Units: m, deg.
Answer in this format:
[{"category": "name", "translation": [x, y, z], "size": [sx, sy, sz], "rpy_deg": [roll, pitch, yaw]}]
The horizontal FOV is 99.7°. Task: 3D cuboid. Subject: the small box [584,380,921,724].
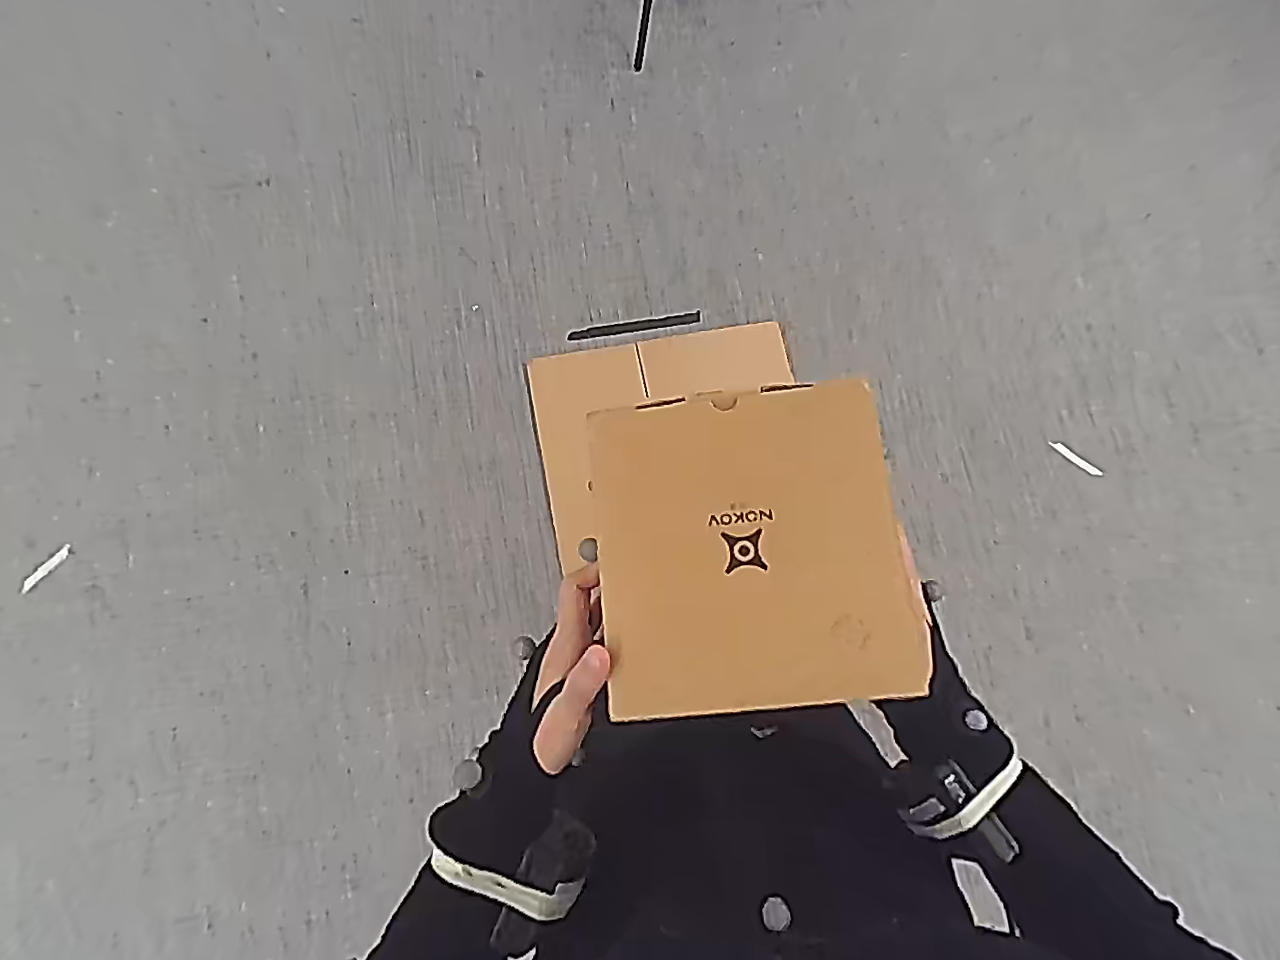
[{"category": "small box", "translation": [0.064, 0.052, 0.374], "size": [0.168, 0.176, 0.179], "rpy_deg": [-7, 78, 5]}]
